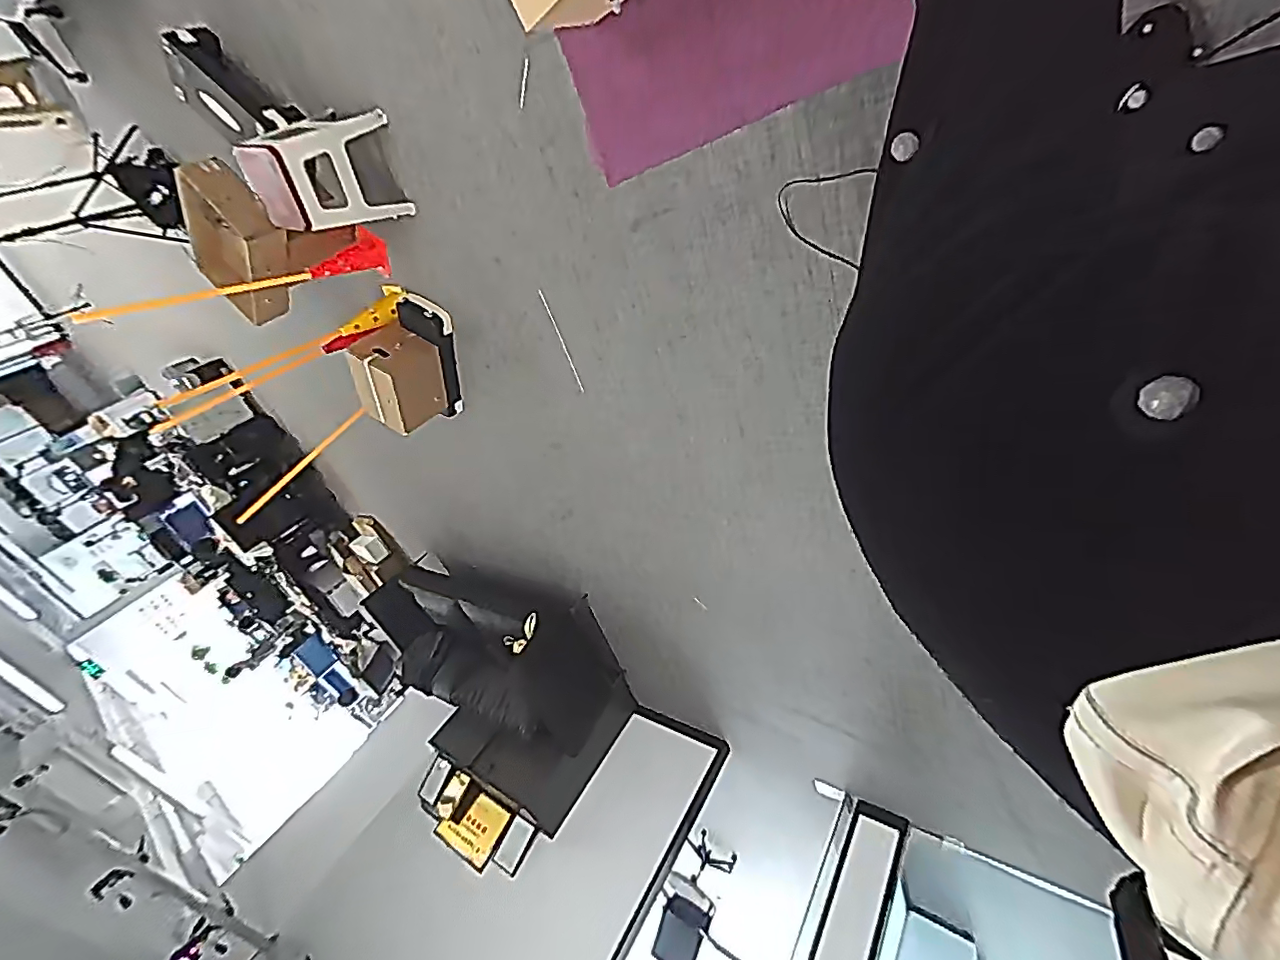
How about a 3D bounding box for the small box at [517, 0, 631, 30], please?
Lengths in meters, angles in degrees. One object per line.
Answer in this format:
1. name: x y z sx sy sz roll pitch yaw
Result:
1. small box: -0.075 -0.717 0.682 0.168 0.176 0.179 -1 126 44
